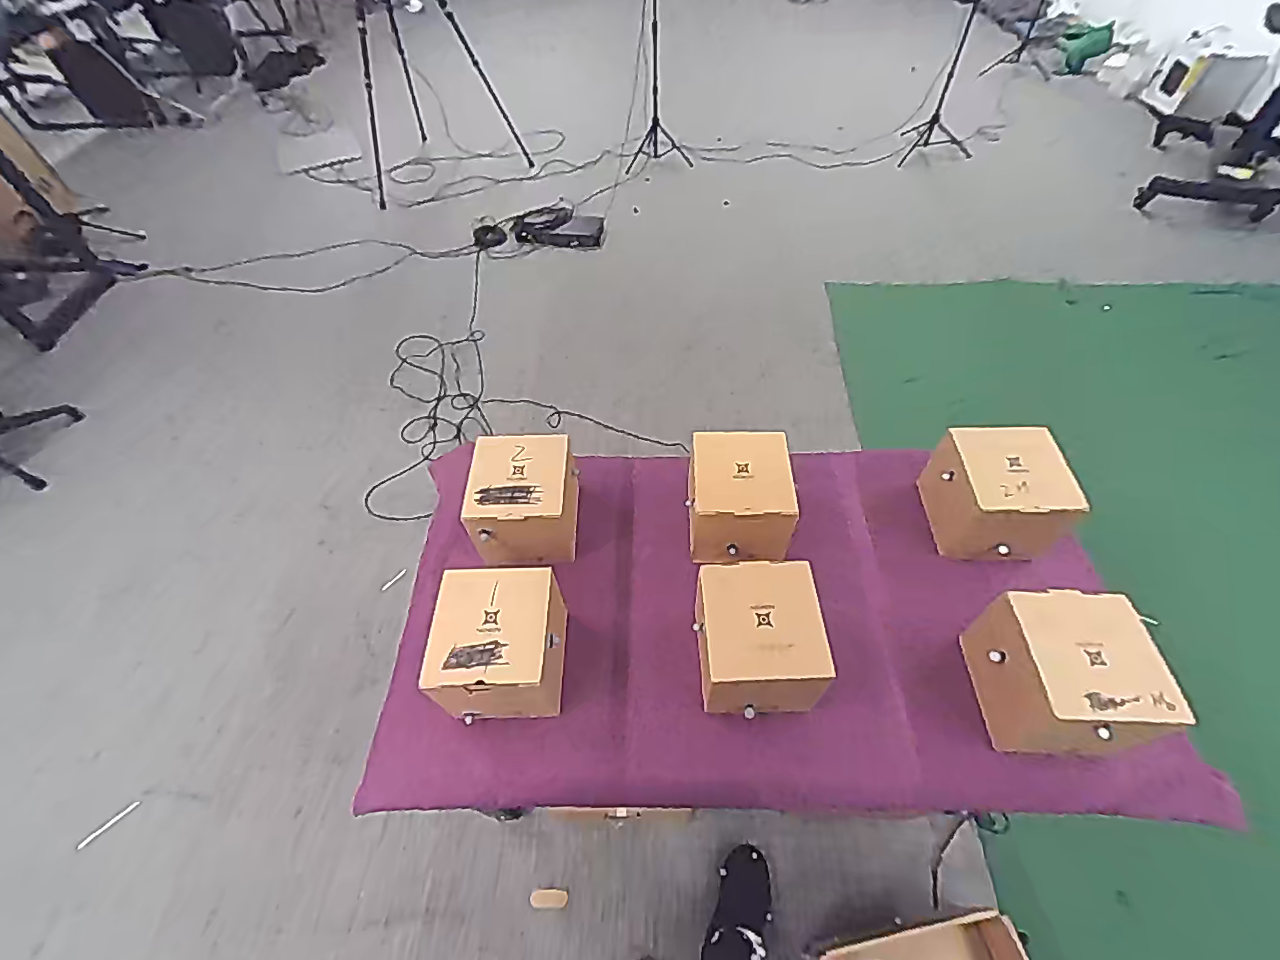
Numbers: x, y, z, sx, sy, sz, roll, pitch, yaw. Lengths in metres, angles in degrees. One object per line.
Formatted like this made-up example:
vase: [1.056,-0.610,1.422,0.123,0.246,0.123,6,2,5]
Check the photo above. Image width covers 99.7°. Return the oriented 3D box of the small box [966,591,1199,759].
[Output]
small box: [0.601,0.278,0.770,0.168,0.176,0.179,0,50,5]

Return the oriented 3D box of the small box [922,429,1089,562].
small box: [0.627,0.028,0.960,0.168,0.176,0.179,-1,54,5]

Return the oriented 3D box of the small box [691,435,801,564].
small box: [0.180,0.037,0.980,0.168,0.176,0.179,0,54,2]

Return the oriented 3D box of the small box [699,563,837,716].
small box: [0.179,0.243,0.820,0.168,0.176,0.179,-2,52,2]

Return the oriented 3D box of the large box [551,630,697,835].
large box: [-0.035,0.635,1.362,0.320,0.320,0.408,-2,51,0]

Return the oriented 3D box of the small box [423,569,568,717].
small box: [-0.205,0.254,0.826,0.168,0.176,0.179,-2,51,1]
